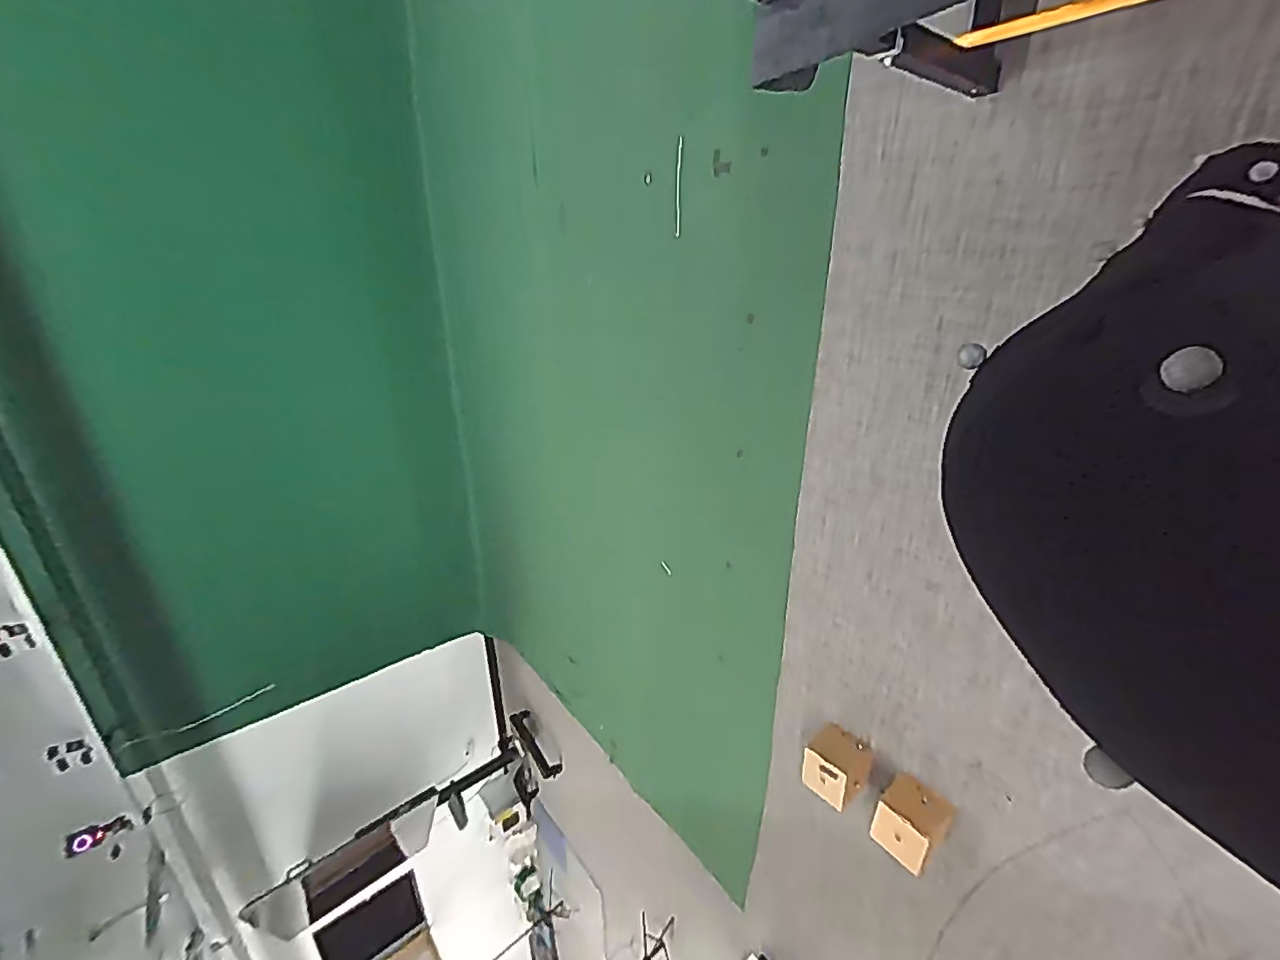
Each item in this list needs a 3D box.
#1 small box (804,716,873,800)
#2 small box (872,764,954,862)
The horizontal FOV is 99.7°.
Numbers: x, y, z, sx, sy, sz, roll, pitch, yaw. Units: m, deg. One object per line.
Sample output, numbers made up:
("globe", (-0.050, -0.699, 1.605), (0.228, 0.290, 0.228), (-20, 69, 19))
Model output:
("small box", (0.720, 0.995, 1.951), (0.168, 0.176, 0.179), (24, 123, 48))
("small box", (0.887, 1.075, 1.757), (0.168, 0.176, 0.179), (28, 125, 46))
